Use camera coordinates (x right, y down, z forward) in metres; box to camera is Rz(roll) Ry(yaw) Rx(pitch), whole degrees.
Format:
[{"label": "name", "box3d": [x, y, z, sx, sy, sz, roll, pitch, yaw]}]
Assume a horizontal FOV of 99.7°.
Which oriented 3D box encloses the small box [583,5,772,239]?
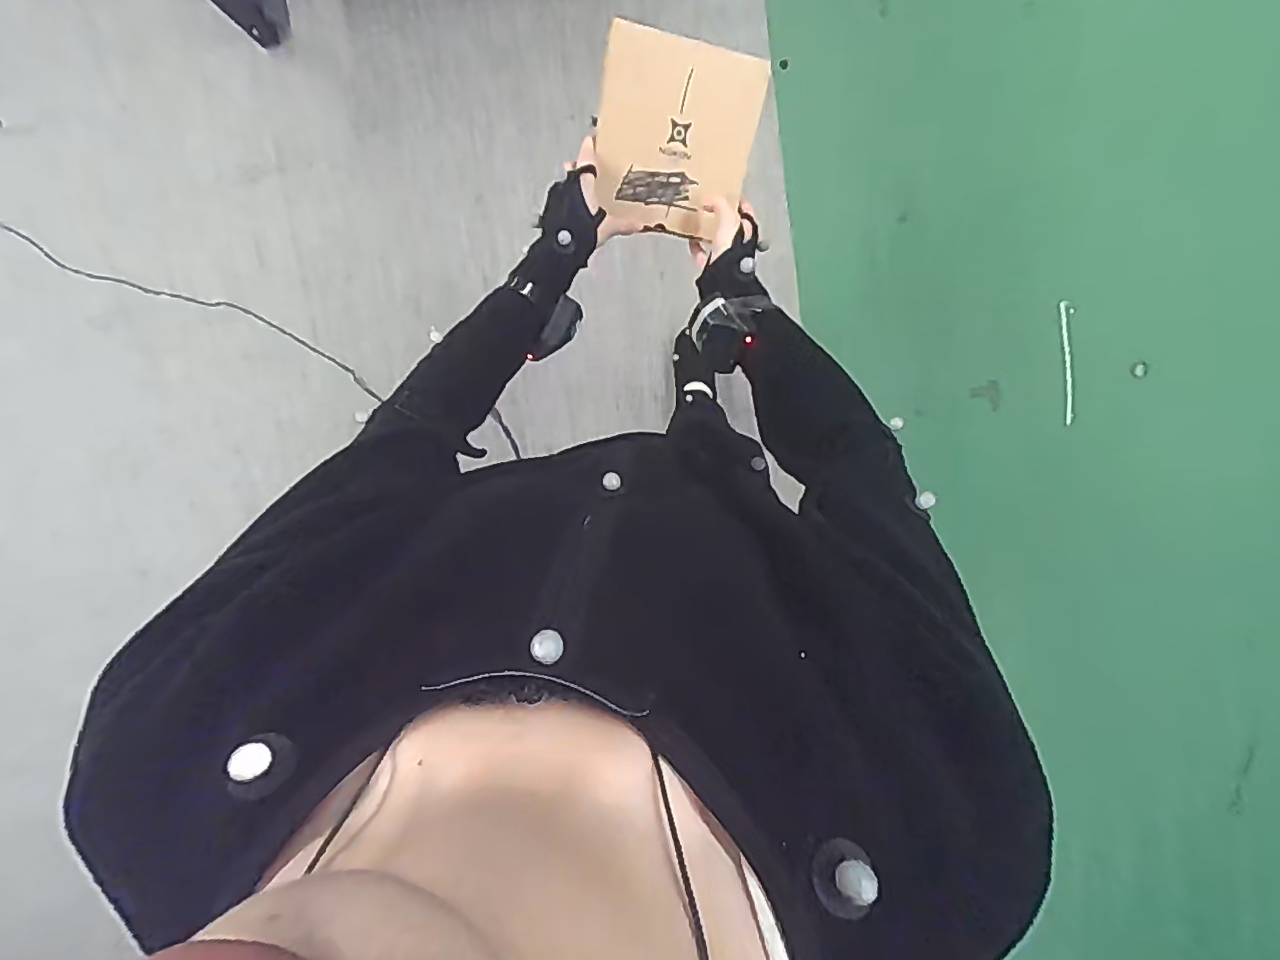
[{"label": "small box", "box3d": [0.028, -0.394, 0.625, 0.168, 0.176, 0.179, 7, 116, -11]}]
